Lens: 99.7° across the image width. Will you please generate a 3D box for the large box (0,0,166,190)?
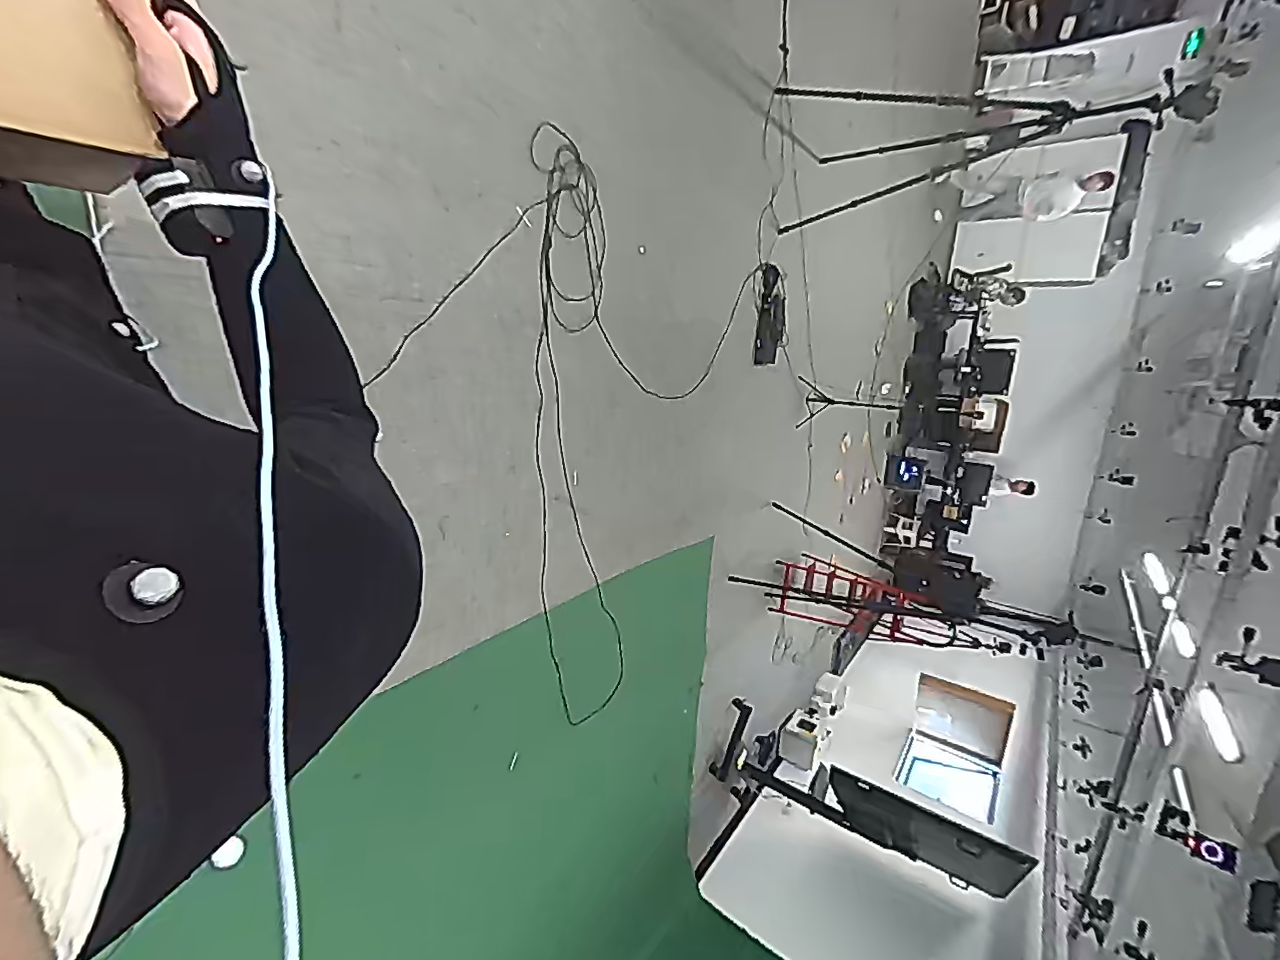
[{"bbox_3d":[-0.626,-0.409,0.348,0.408,0.320,0.320,-16,116,-48],"label":"large box"}]
